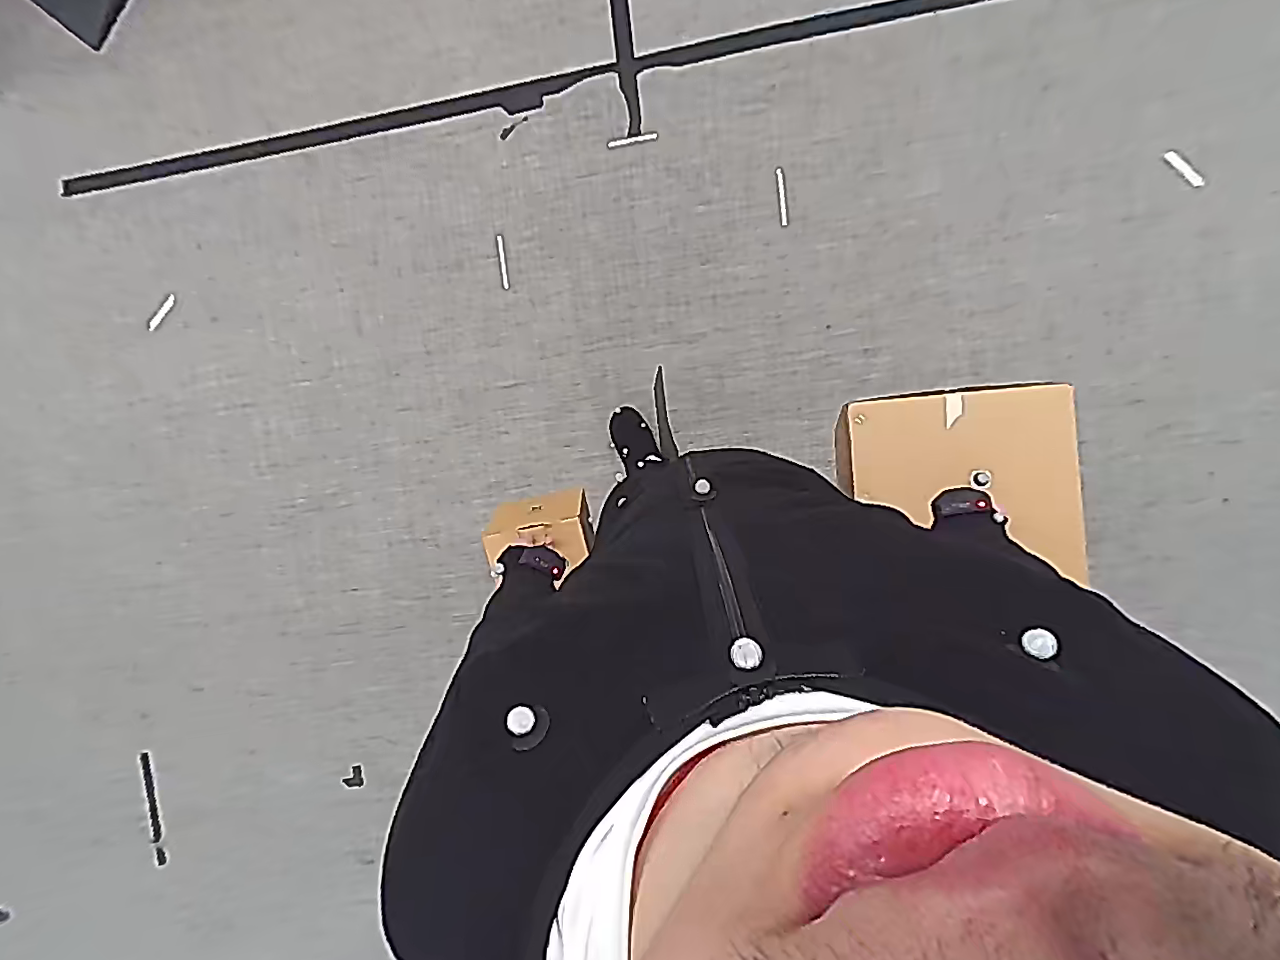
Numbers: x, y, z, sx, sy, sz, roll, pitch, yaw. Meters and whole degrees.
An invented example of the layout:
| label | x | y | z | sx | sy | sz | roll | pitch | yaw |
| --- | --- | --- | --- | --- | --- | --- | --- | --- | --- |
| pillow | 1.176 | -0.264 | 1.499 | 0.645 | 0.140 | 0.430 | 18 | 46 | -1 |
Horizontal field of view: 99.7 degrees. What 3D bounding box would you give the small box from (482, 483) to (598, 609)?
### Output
| label | x | y | z | sx | sy | sz | roll | pitch | yaw |
| --- | --- | --- | --- | --- | --- | --- | --- | --- | --- |
| small box | -0.173 | 0.124 | 0.996 | 0.168 | 0.179 | 0.176 | -11 | 107 | -1 |
